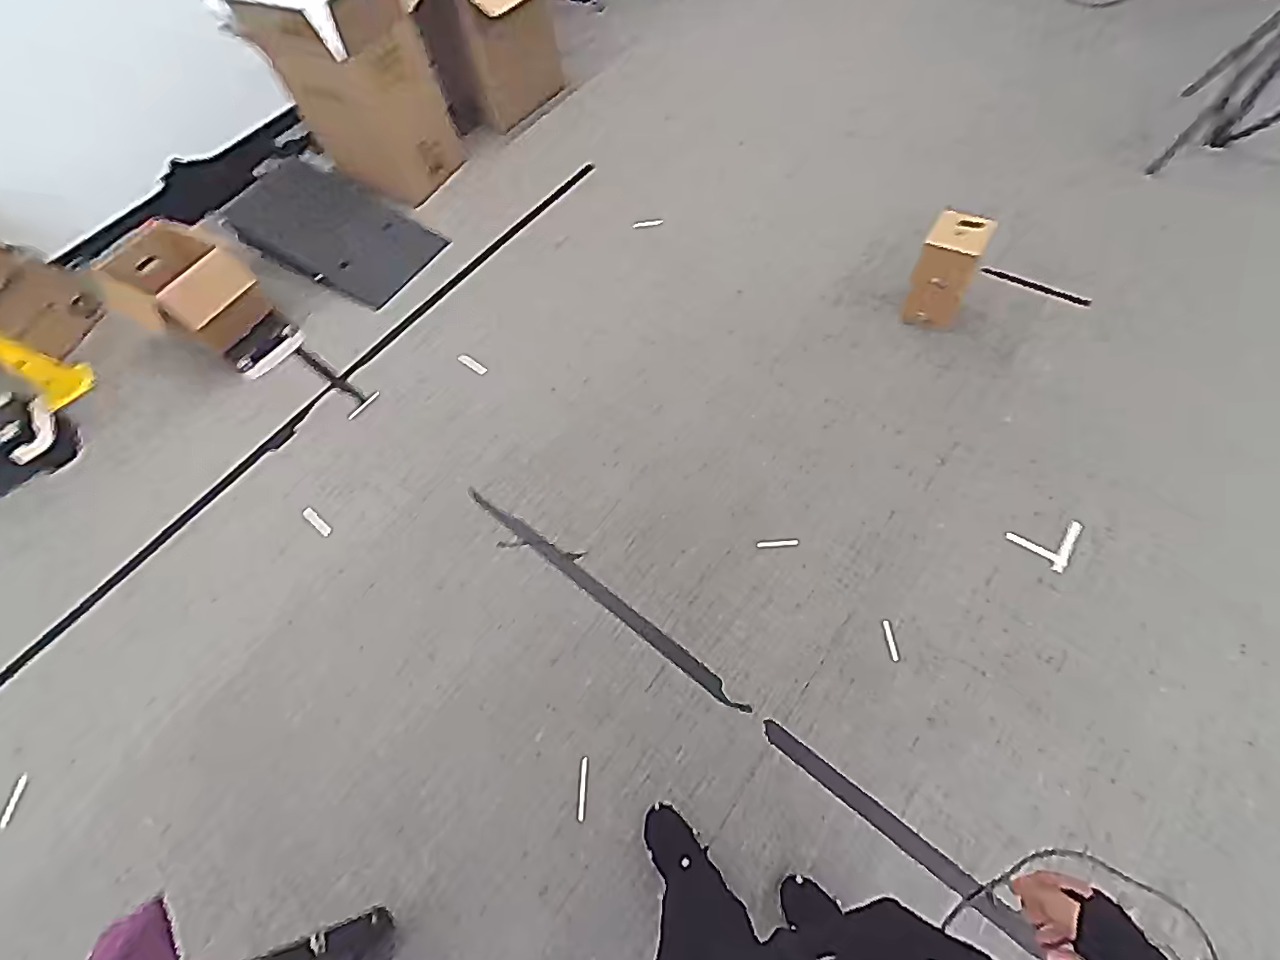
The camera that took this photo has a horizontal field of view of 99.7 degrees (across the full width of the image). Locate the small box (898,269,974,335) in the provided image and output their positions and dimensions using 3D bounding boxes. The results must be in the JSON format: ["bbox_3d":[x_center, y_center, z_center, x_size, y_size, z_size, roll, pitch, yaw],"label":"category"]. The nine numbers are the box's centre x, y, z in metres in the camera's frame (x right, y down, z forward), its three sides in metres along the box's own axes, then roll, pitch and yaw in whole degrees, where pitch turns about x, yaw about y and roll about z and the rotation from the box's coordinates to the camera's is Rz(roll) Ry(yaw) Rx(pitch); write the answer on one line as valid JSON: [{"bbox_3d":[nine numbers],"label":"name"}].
[{"bbox_3d":[1.043,-0.652,1.920,0.168,0.176,0.179,26,68,21],"label":"small box"}]

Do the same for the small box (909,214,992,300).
[{"bbox_3d":[1.013,-0.730,1.779,0.168,0.176,0.179,28,69,22],"label":"small box"}]
